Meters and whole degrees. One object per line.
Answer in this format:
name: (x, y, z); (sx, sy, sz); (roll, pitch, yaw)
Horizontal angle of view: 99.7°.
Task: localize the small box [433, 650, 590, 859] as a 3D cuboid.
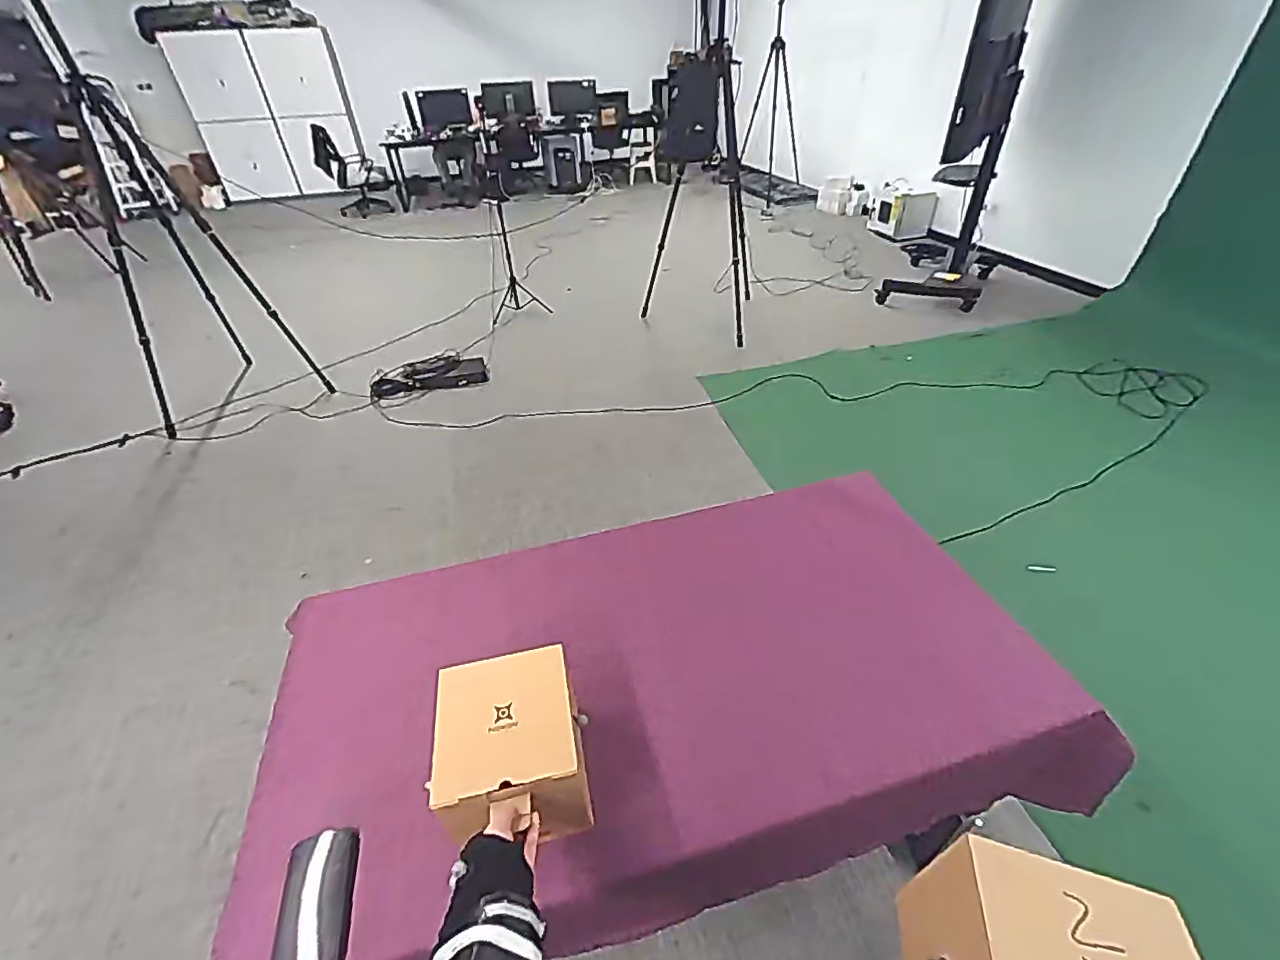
small box: (-0.163, 0.360, 0.718); (0.168, 0.176, 0.179); (-10, 39, -9)
